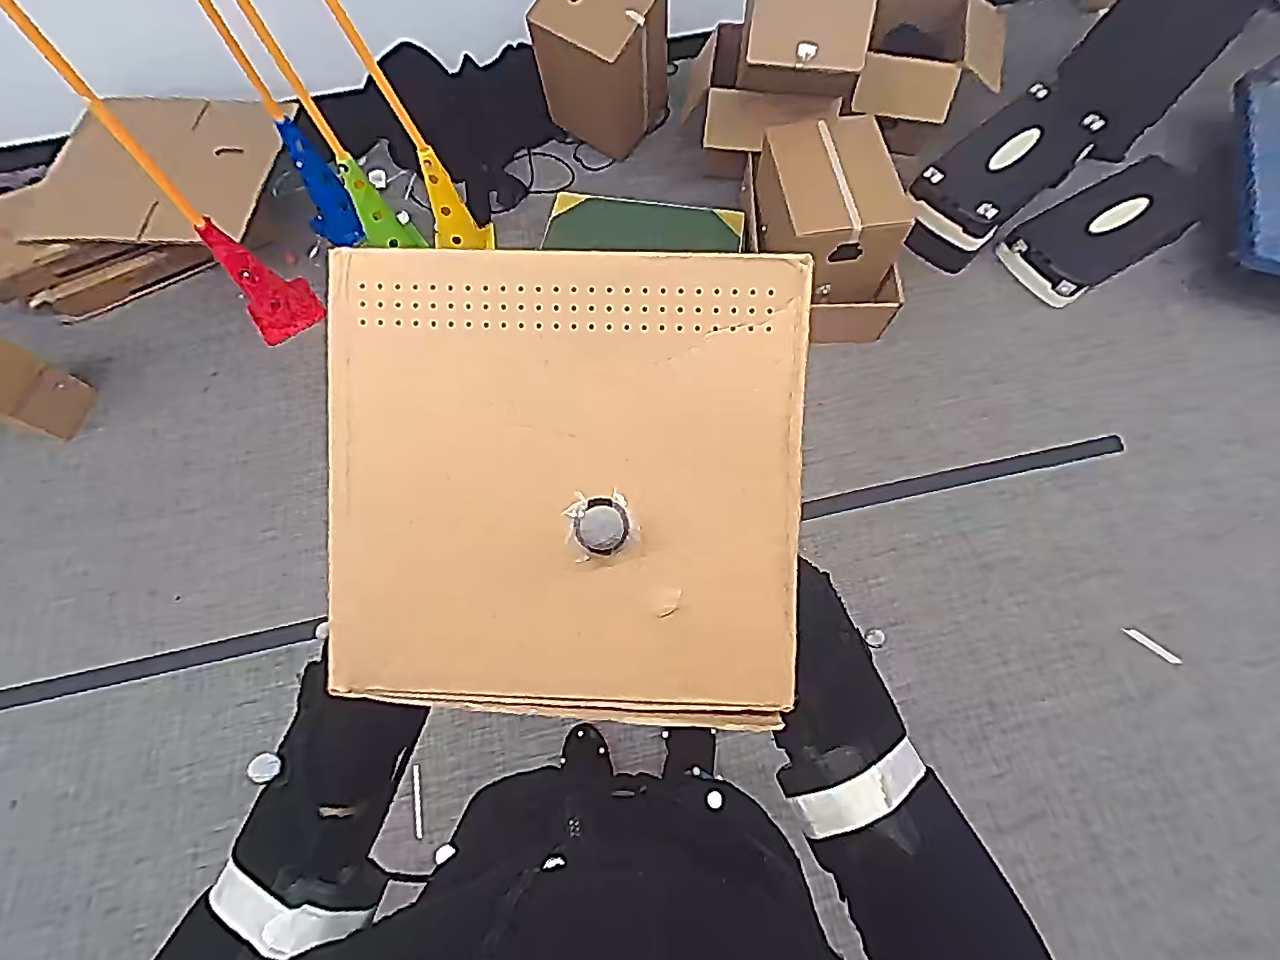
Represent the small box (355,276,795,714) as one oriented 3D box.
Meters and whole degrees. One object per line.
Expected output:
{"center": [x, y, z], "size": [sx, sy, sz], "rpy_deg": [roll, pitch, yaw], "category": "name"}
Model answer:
{"center": [-0.025, 0.001, 0.283], "size": [0.179, 0.168, 0.176], "rpy_deg": [1, 92, 1], "category": "small box"}
